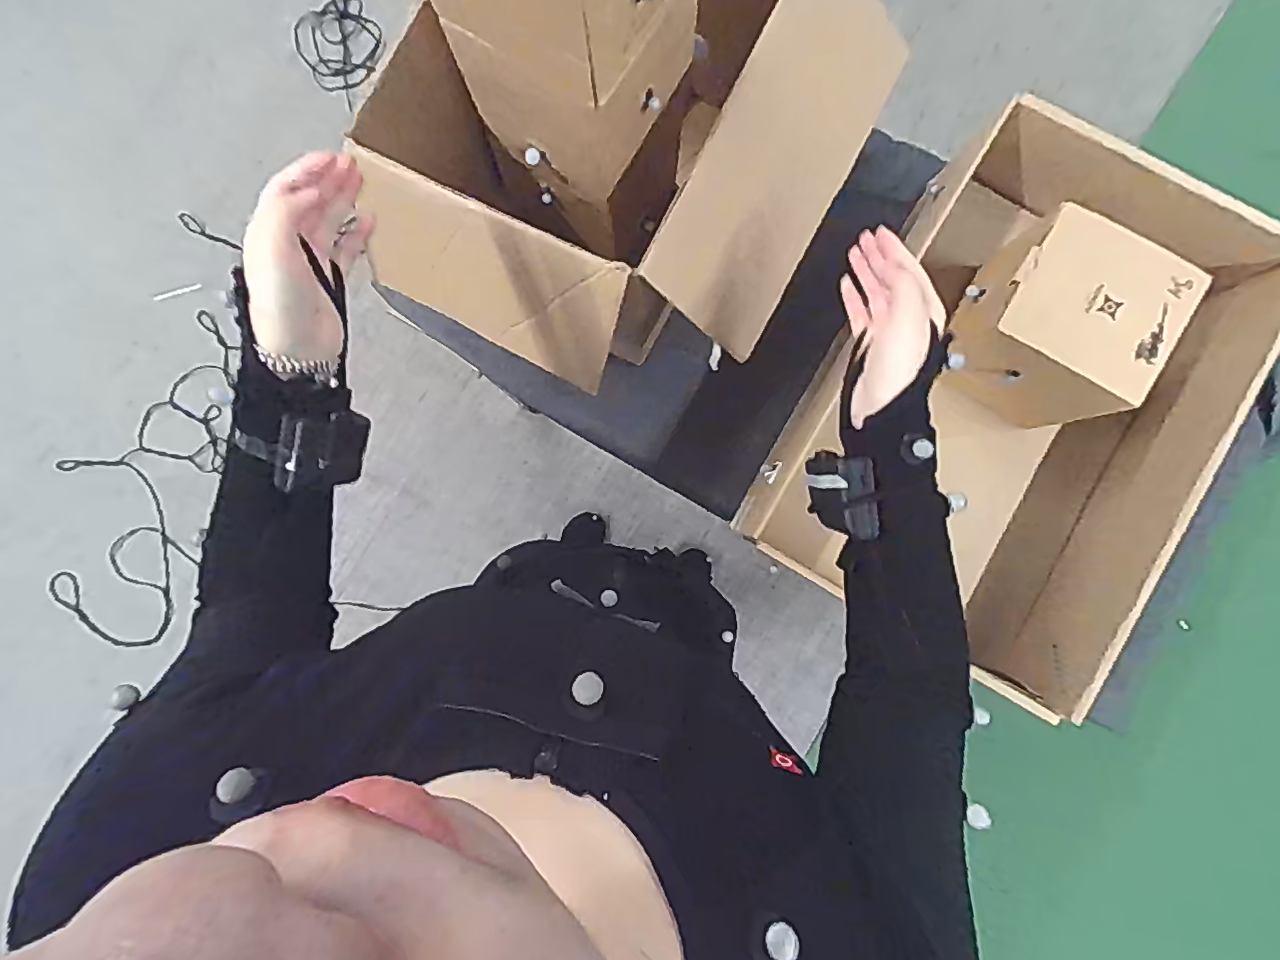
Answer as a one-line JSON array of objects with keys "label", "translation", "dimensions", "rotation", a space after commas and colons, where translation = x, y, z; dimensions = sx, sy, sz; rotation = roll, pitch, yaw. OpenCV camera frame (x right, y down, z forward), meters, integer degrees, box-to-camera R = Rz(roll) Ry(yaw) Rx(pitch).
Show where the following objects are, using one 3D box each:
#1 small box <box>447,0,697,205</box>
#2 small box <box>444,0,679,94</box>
[{"label": "small box", "translation": [-0.057, -0.431, 0.552], "dimensions": [0.168, 0.176, 0.179], "rotation": [33, 90, 2]}, {"label": "small box", "translation": [-0.061, -0.437, 0.390], "dimensions": [0.179, 0.176, 0.168], "rotation": [33, 88, 2]}]
